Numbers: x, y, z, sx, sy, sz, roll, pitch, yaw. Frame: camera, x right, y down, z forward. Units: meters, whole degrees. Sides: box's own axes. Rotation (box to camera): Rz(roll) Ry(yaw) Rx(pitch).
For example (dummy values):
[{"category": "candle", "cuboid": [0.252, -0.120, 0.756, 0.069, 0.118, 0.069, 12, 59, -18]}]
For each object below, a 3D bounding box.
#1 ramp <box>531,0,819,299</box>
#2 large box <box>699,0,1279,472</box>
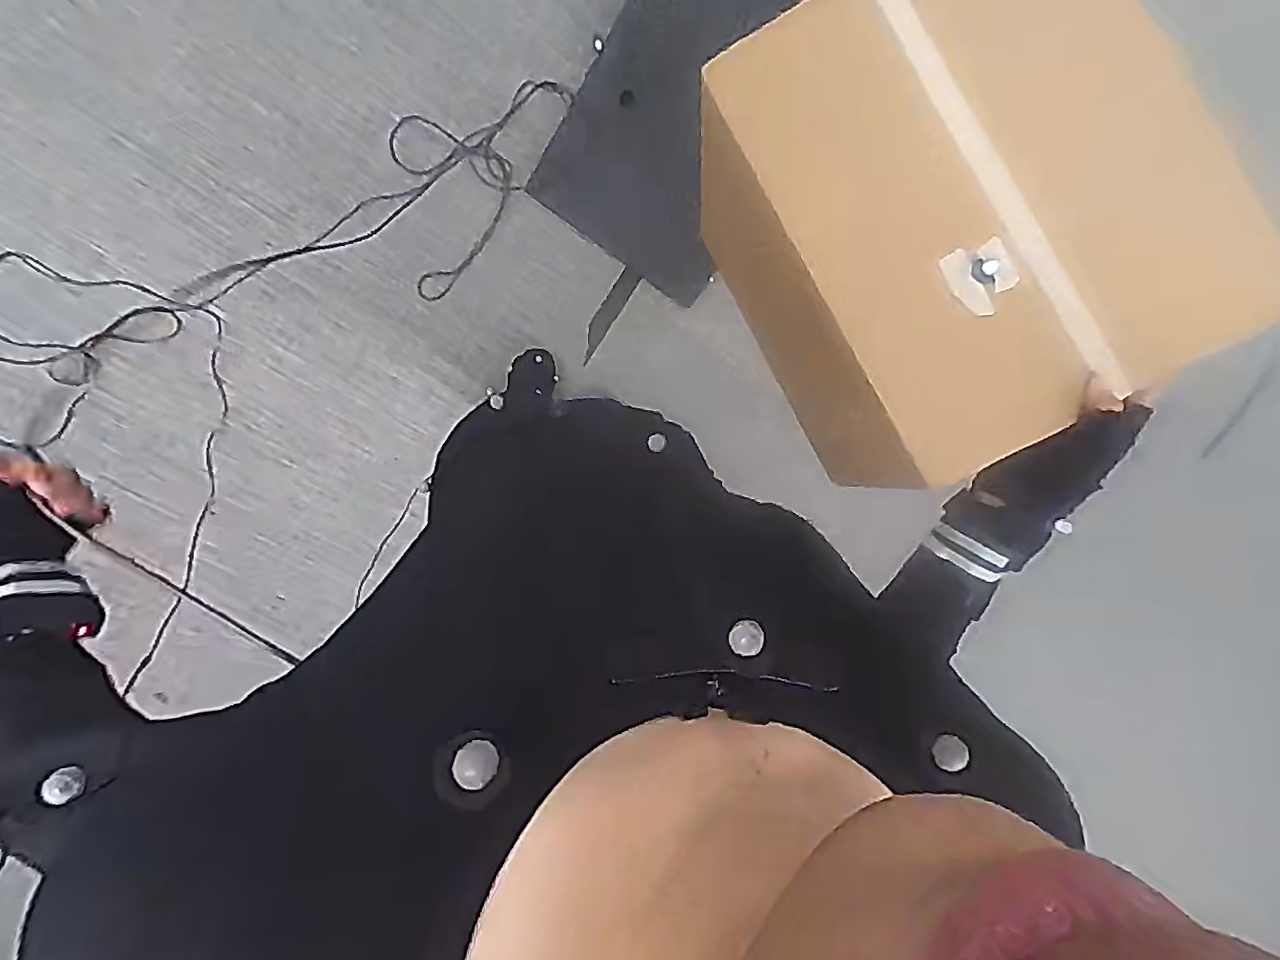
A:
[{"category": "ramp", "cuboid": [0.210, -0.975, 1.223, 0.509, 0.206, 0.991, 29, 97, -15]}, {"category": "large box", "cuboid": [0.293, -0.252, 0.595, 0.320, 0.320, 0.408, -28, 88, 6]}]
